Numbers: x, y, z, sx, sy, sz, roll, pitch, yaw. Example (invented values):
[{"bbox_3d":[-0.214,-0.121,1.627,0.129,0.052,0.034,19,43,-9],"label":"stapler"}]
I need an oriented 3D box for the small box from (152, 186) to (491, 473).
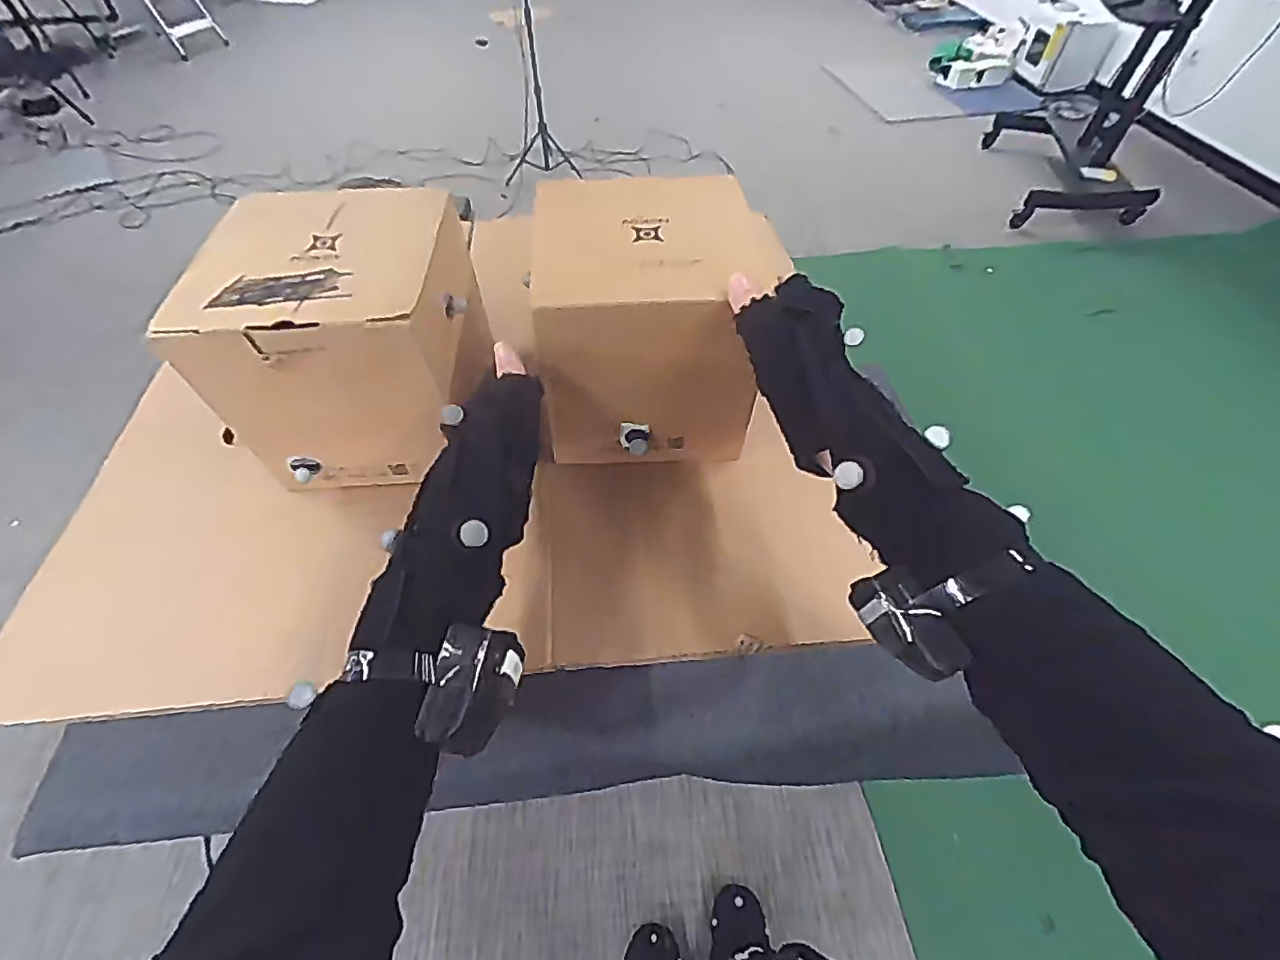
[{"bbox_3d":[-0.230,-0.117,0.454,0.168,0.176,0.179,-3,53,-2],"label":"small box"}]
